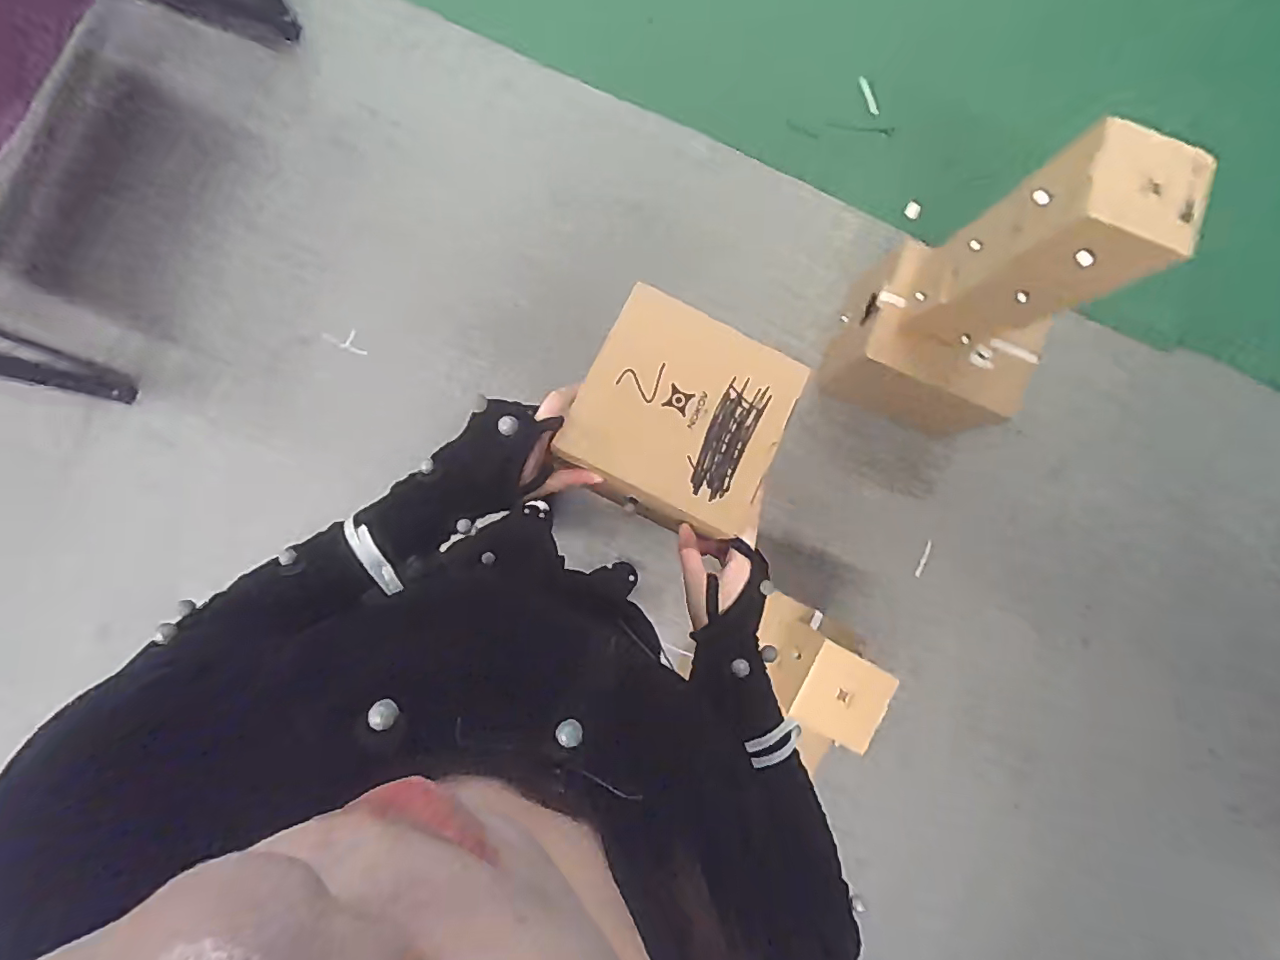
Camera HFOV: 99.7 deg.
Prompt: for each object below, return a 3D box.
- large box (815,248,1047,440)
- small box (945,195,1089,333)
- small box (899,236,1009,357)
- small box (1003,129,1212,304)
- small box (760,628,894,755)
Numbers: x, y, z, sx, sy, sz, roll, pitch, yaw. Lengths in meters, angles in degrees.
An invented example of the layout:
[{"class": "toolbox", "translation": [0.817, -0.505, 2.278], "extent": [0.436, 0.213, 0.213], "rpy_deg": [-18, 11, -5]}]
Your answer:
[{"class": "large box", "translation": [0.752, -0.338, 1.447], "extent": [0.408, 0.320, 0.320], "rpy_deg": [23, 85, -3]}, {"class": "small box", "translation": [0.730, -0.403, 1.040], "extent": [0.179, 0.176, 0.168], "rpy_deg": [18, 86, -4]}, {"class": "small box", "translation": [0.712, -0.396, 1.203], "extent": [0.168, 0.176, 0.179], "rpy_deg": [22, 84, -3]}, {"class": "small box", "translation": [0.740, -0.411, 0.876], "extent": [0.179, 0.176, 0.168], "rpy_deg": [20, 86, -2]}, {"class": "small box", "translation": [0.379, 0.429, 1.130], "extent": [0.179, 0.176, 0.168], "rpy_deg": [30, 85, -4]}]
